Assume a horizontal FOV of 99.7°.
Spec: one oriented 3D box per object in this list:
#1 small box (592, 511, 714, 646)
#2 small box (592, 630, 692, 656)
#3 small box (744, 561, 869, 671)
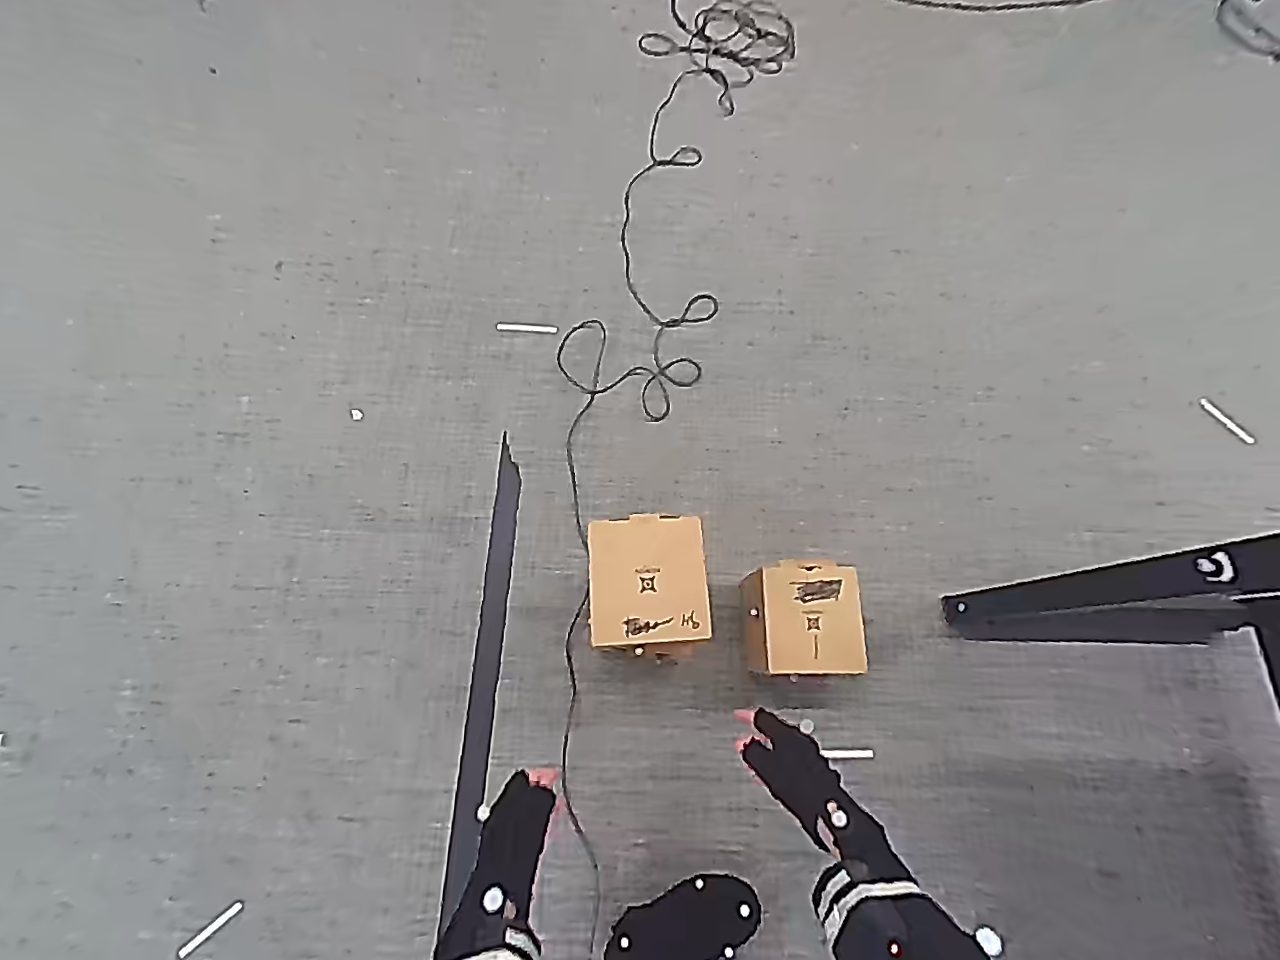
[{"bbox_3d":[0.010,0.154,0.822,0.168,0.176,0.179,-2,71,-4],"label":"small box"},{"bbox_3d":[0.009,0.218,0.973,0.168,0.176,0.179,7,70,-1],"label":"small box"},{"bbox_3d":[0.286,0.248,0.971,0.168,0.176,0.179,1,72,-2],"label":"small box"}]
